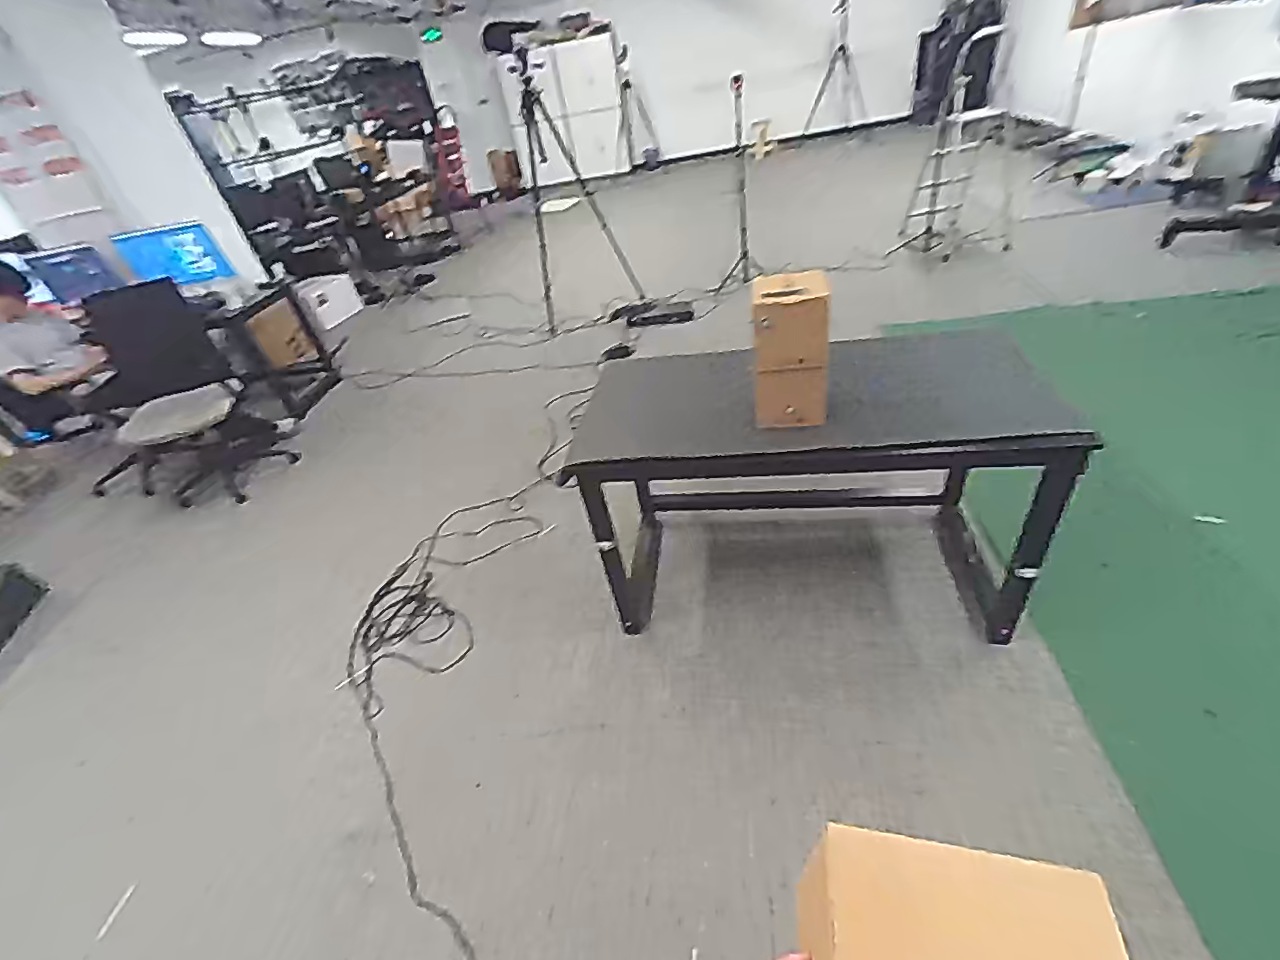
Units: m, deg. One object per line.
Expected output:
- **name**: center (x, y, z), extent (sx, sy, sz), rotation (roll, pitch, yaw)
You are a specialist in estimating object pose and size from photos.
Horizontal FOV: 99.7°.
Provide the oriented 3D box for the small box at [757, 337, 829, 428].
- **small box**: center (0.387, -0.248, 1.383), extent (0.168, 0.176, 0.179), rotation (-2, 37, 14)
